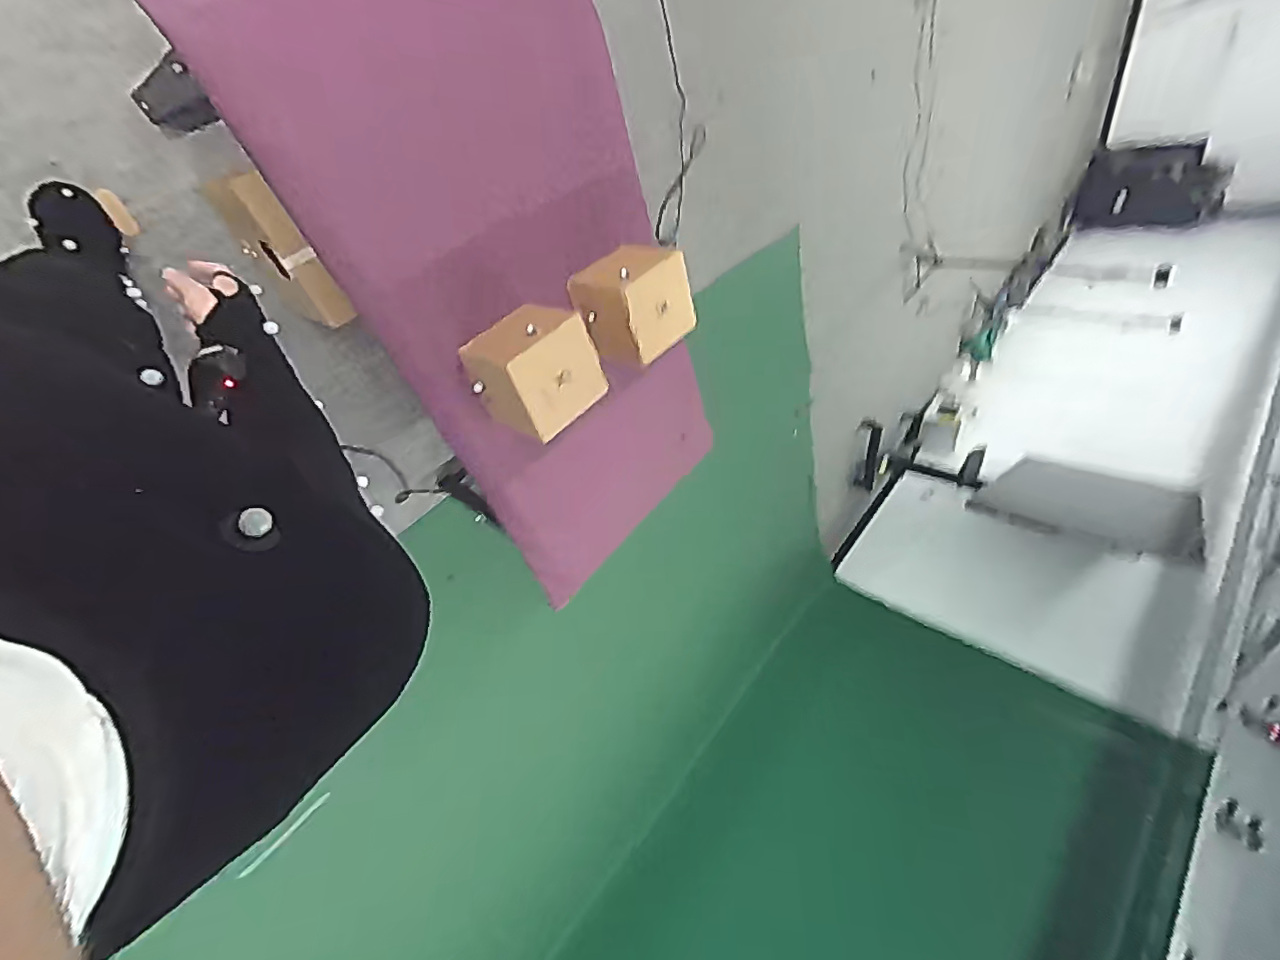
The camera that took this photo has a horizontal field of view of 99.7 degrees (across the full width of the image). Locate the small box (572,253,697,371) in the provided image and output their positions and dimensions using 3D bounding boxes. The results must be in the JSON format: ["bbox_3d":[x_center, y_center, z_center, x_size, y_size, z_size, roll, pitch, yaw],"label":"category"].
[{"bbox_3d":[-0.009,-0.354,1.119,0.179,0.176,0.168,-42,135,-25],"label":"small box"}]

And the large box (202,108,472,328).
[{"bbox_3d":[-0.694,-0.609,1.271,0.408,0.320,0.320,-45,137,-25],"label":"large box"}]

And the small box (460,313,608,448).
[{"bbox_3d":[-0.192,-0.191,0.993,0.179,0.176,0.168,-43,135,-26],"label":"small box"}]
